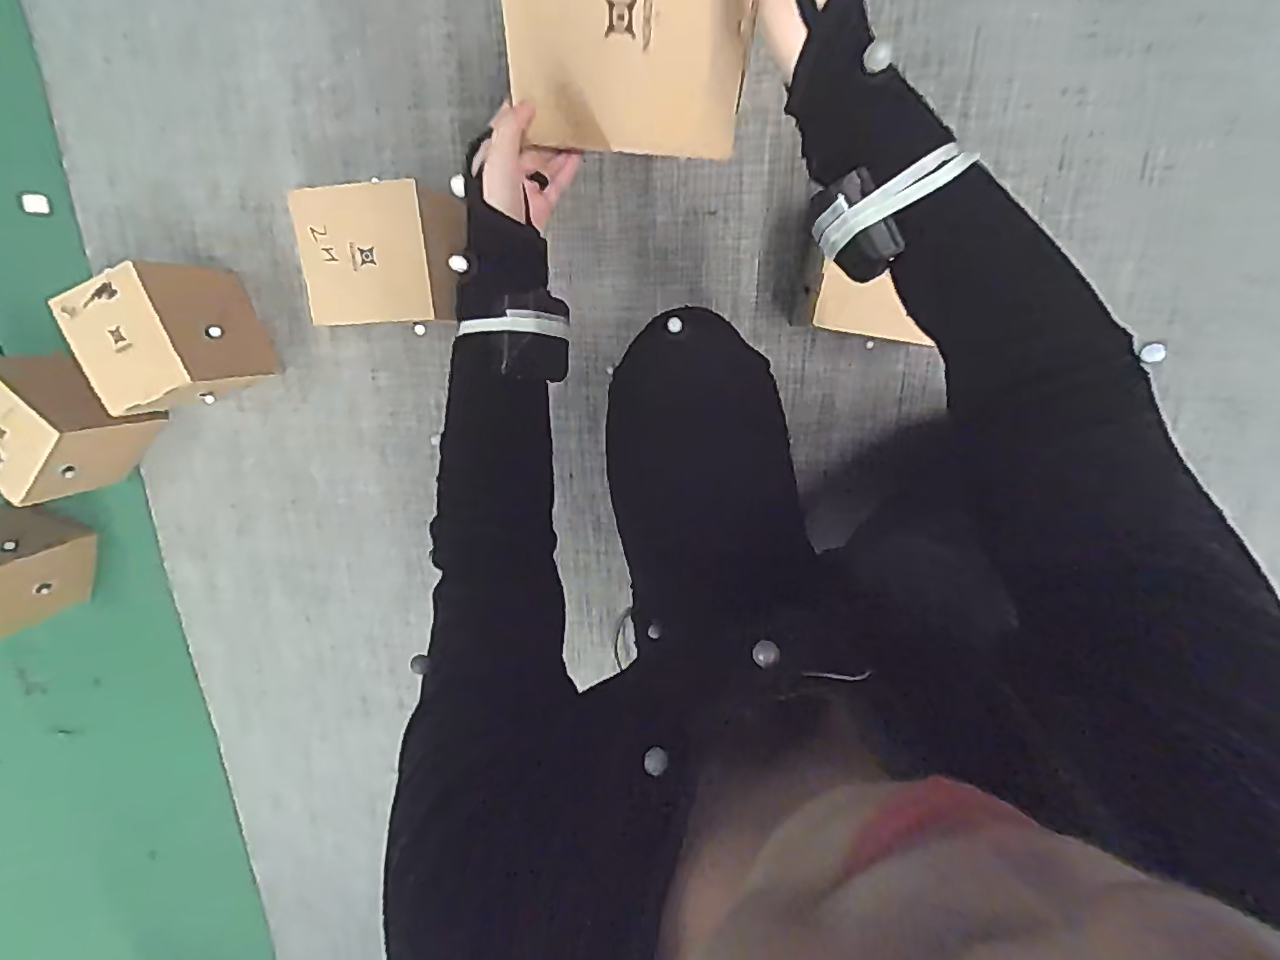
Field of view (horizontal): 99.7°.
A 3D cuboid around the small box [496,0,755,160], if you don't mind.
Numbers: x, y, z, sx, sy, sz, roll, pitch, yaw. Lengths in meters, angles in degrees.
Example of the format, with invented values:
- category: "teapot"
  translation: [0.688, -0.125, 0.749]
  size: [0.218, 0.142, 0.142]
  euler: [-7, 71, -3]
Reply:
- category: "small box"
  translation: [-0.007, -0.373, 0.419]
  size: [0.179, 0.176, 0.168]
  euler: [4, 138, -1]

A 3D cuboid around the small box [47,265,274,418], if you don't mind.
- category: "small box"
  translation: [-0.725, -0.214, 0.841]
  size: [0.168, 0.176, 0.179]
  euler: [-16, 103, 12]

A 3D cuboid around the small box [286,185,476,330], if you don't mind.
- category: "small box"
  translation: [-0.344, -0.301, 0.761]
  size: [0.179, 0.176, 0.168]
  euler: [0, 105, 8]

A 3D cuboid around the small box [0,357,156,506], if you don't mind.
- category: "small box"
  translation: [-0.987, -0.089, 0.914]
  size: [0.179, 0.176, 0.168]
  euler: [-43, 95, 15]
